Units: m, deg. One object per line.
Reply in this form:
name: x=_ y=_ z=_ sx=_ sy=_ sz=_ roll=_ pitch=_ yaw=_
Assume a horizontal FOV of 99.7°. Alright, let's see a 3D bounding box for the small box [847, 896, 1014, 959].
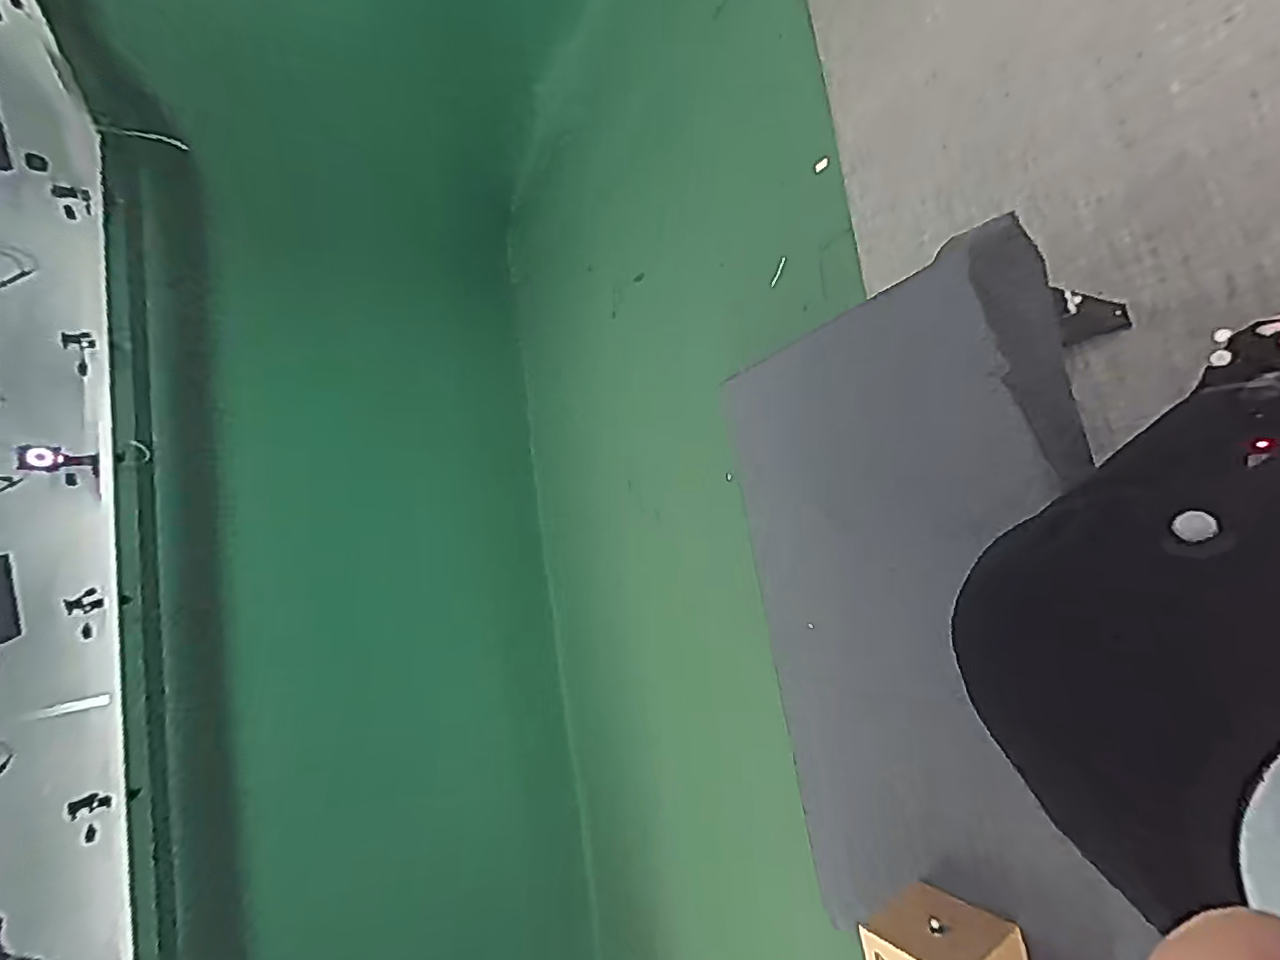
small box: x=0.462 y=0.797 z=0.843 sx=0.179 sy=0.176 sz=0.168 roll=-23 pitch=74 yaw=57
